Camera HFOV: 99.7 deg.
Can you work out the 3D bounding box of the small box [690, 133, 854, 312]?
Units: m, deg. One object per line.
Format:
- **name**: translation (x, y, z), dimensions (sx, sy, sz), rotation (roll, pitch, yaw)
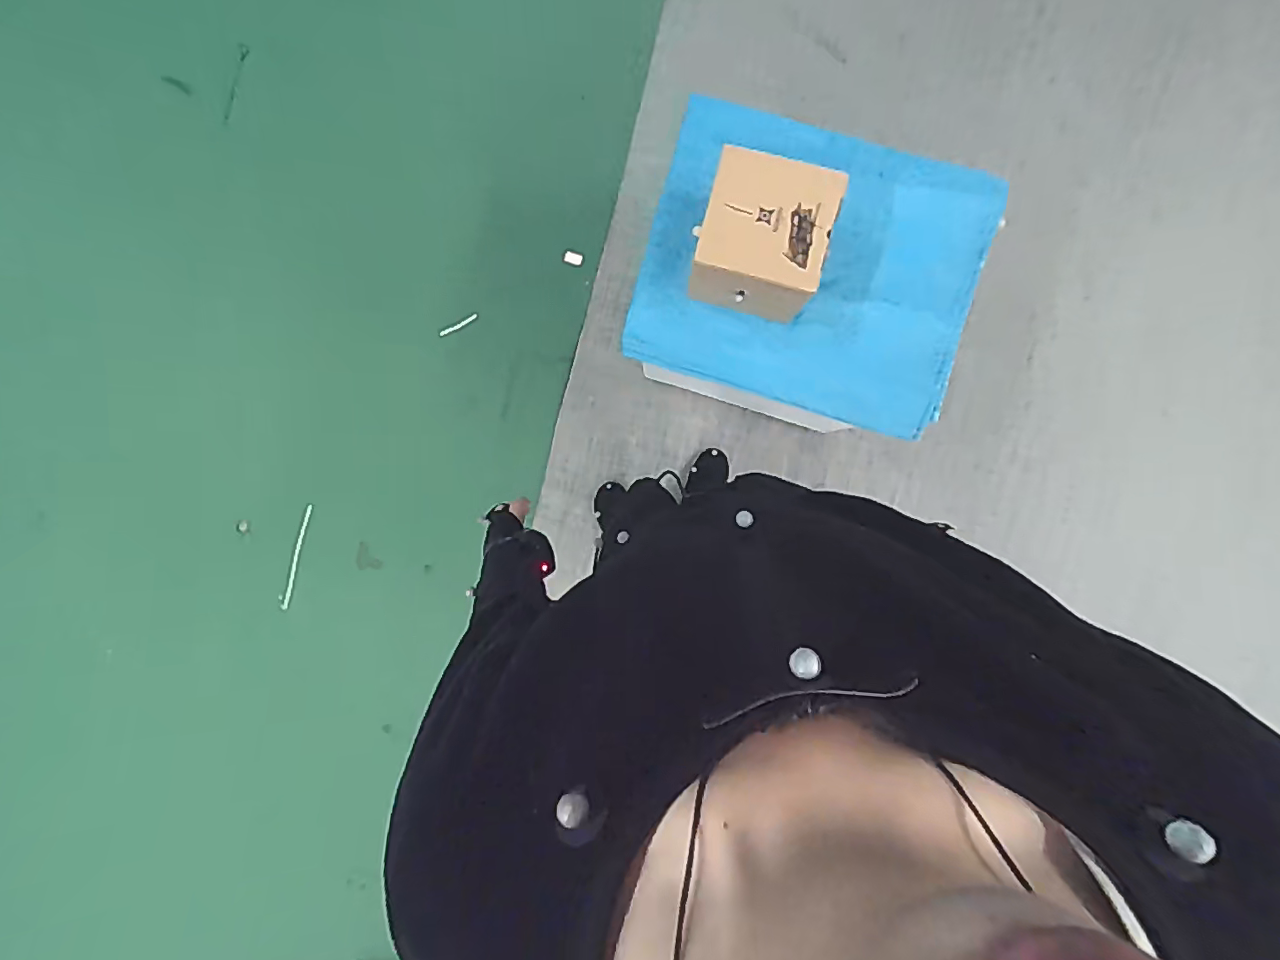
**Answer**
- **small box**: translation (0.181, -0.363, 0.798), dimensions (0.179, 0.176, 0.168), rotation (16, 93, 2)
